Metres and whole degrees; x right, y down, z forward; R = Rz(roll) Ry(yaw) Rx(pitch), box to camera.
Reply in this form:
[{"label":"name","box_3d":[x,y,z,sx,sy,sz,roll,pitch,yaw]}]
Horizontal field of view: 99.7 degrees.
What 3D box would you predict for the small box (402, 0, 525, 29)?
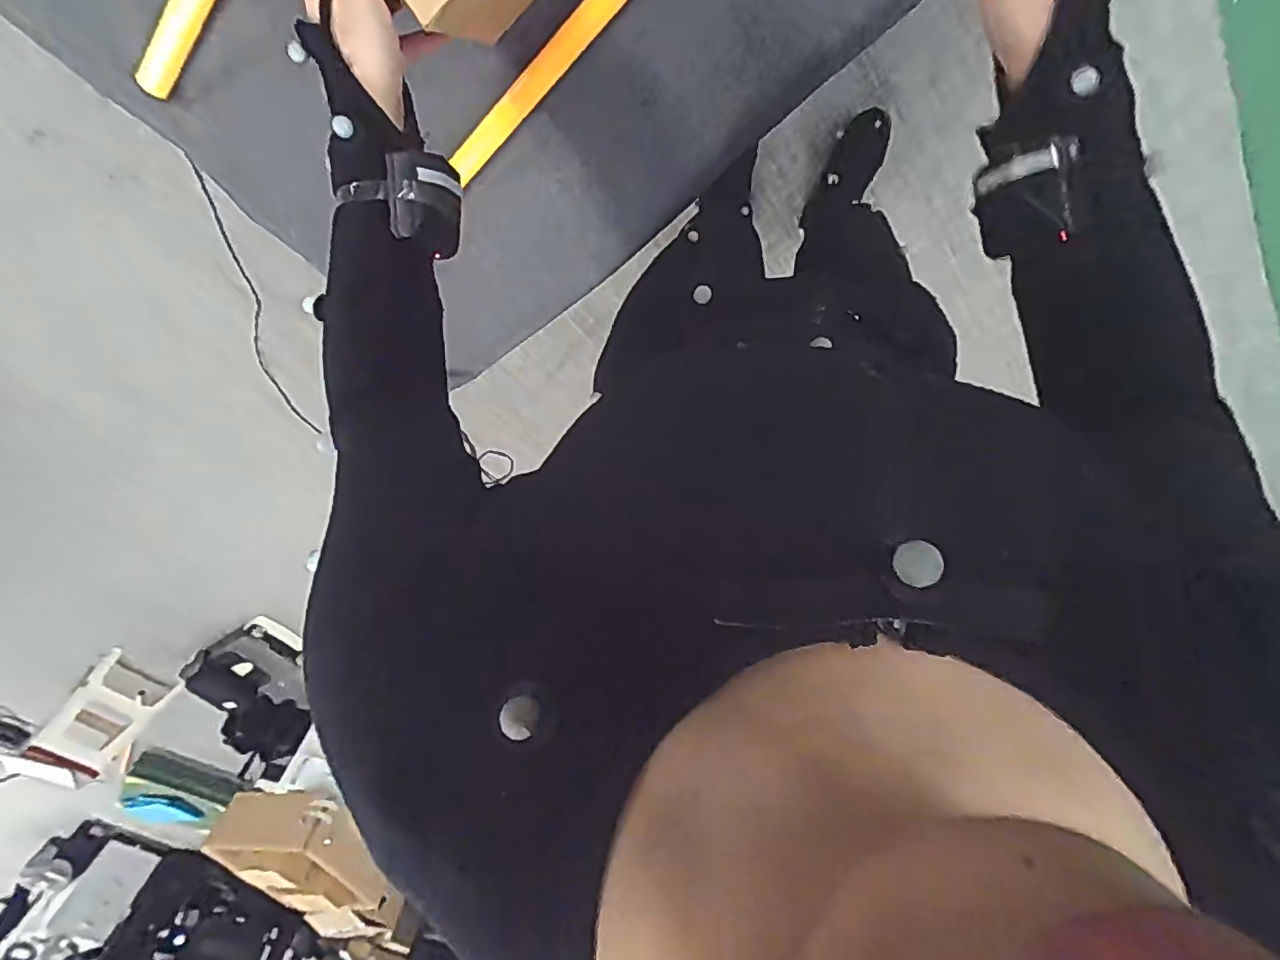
[{"label":"small box","box_3d":[-0.125,-0.458,0.373,0.179,0.176,0.168,-29,120,23]}]
